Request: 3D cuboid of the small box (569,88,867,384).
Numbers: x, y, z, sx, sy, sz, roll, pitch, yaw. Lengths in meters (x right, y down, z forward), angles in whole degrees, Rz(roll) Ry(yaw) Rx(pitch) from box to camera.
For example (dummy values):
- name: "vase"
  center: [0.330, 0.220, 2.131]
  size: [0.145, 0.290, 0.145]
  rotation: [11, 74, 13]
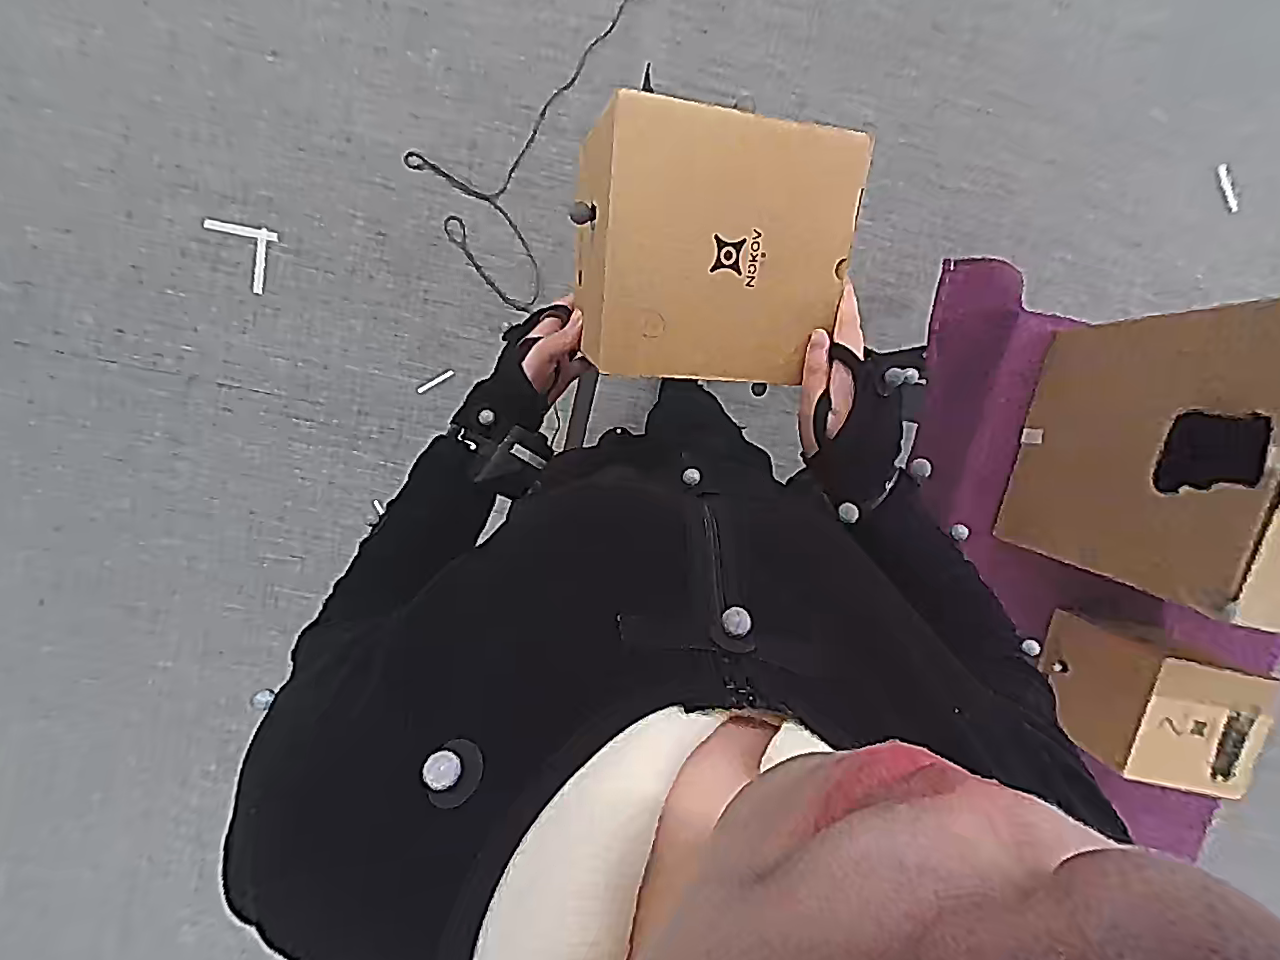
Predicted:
- name: "small box"
  center: [0.040, -0.176, 0.432]
  size: [0.179, 0.176, 0.168]
  rotation: [0, 110, -15]
